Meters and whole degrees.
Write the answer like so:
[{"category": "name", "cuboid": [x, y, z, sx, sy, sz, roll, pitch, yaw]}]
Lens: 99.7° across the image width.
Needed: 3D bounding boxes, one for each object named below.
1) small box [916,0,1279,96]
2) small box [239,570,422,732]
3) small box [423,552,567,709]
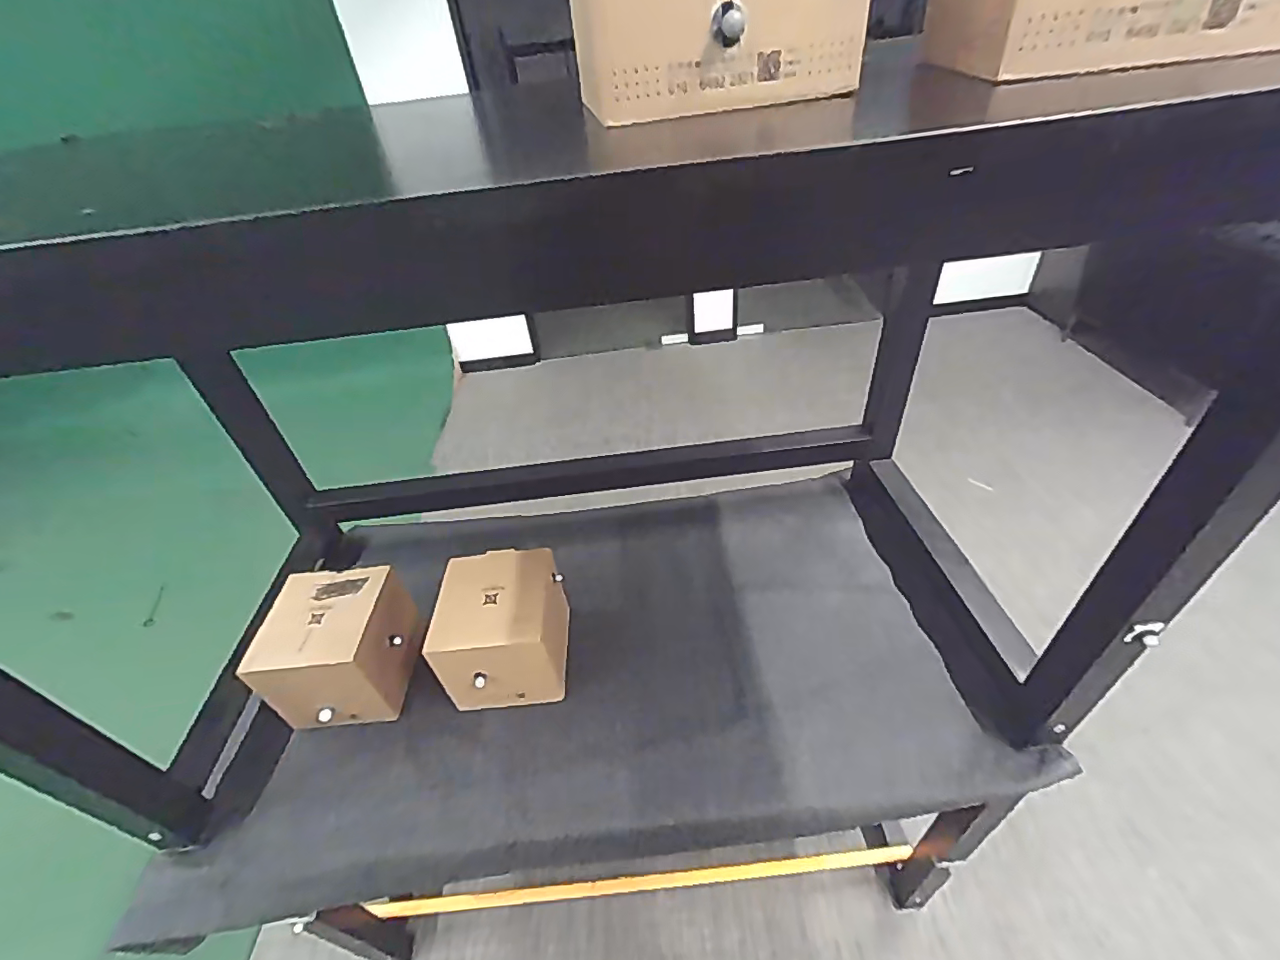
[{"category": "small box", "cuboid": [0.286, -0.340, 0.320, 0.168, 0.176, 0.179, 1, 40, 9]}, {"category": "small box", "cuboid": [-0.464, 0.267, 0.849, 0.168, 0.176, 0.179, -6, 40, 1]}, {"category": "small box", "cuboid": [-0.212, 0.240, 0.848, 0.168, 0.176, 0.179, -6, 39, 1]}]
